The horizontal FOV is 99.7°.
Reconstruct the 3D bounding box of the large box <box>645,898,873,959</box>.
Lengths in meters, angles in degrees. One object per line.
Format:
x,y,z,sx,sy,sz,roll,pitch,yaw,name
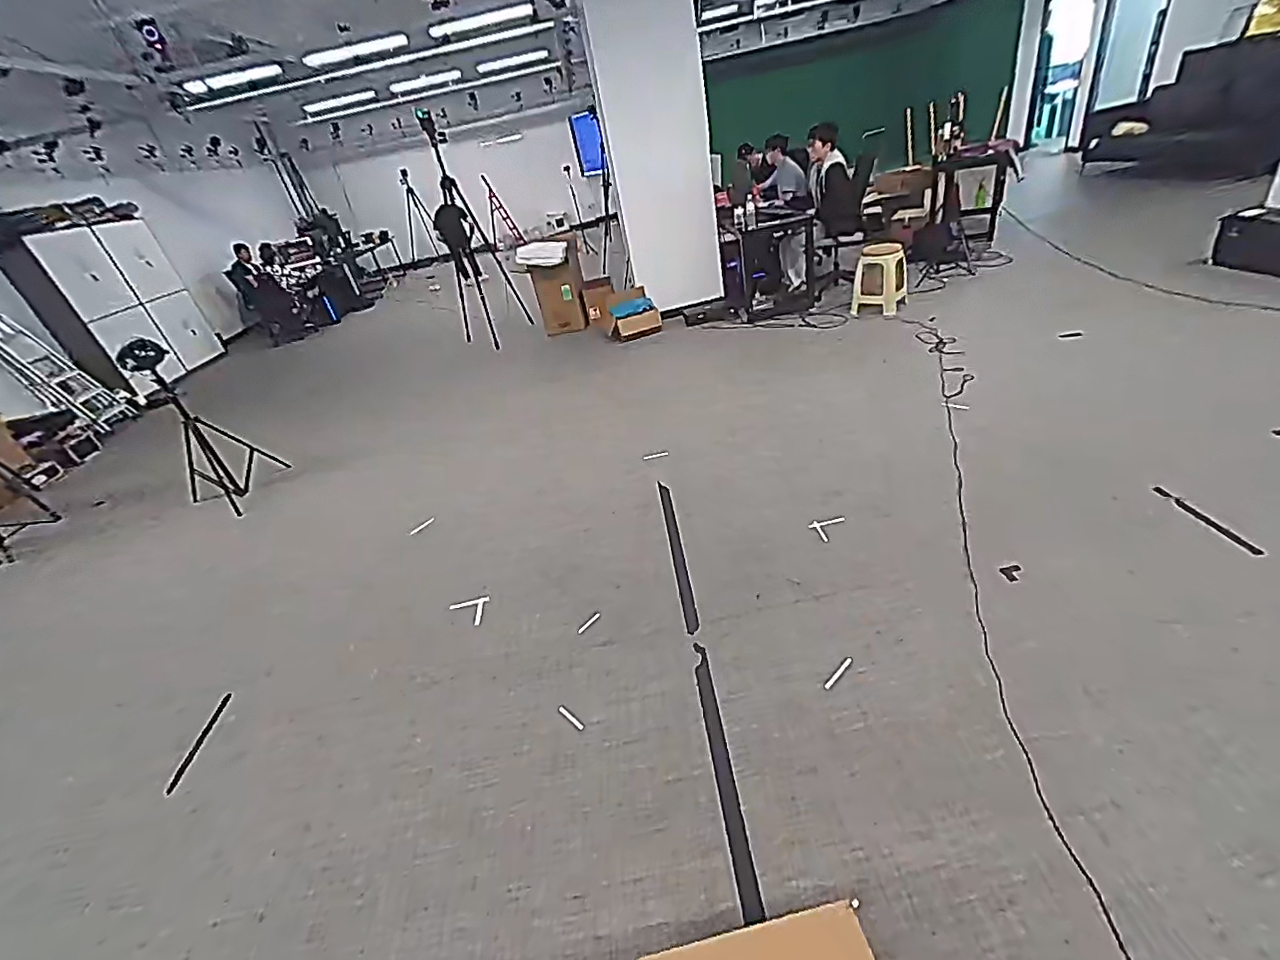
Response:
0.243,1.020,0.933,0.408,0.320,0.320,-14,31,-2,large box
